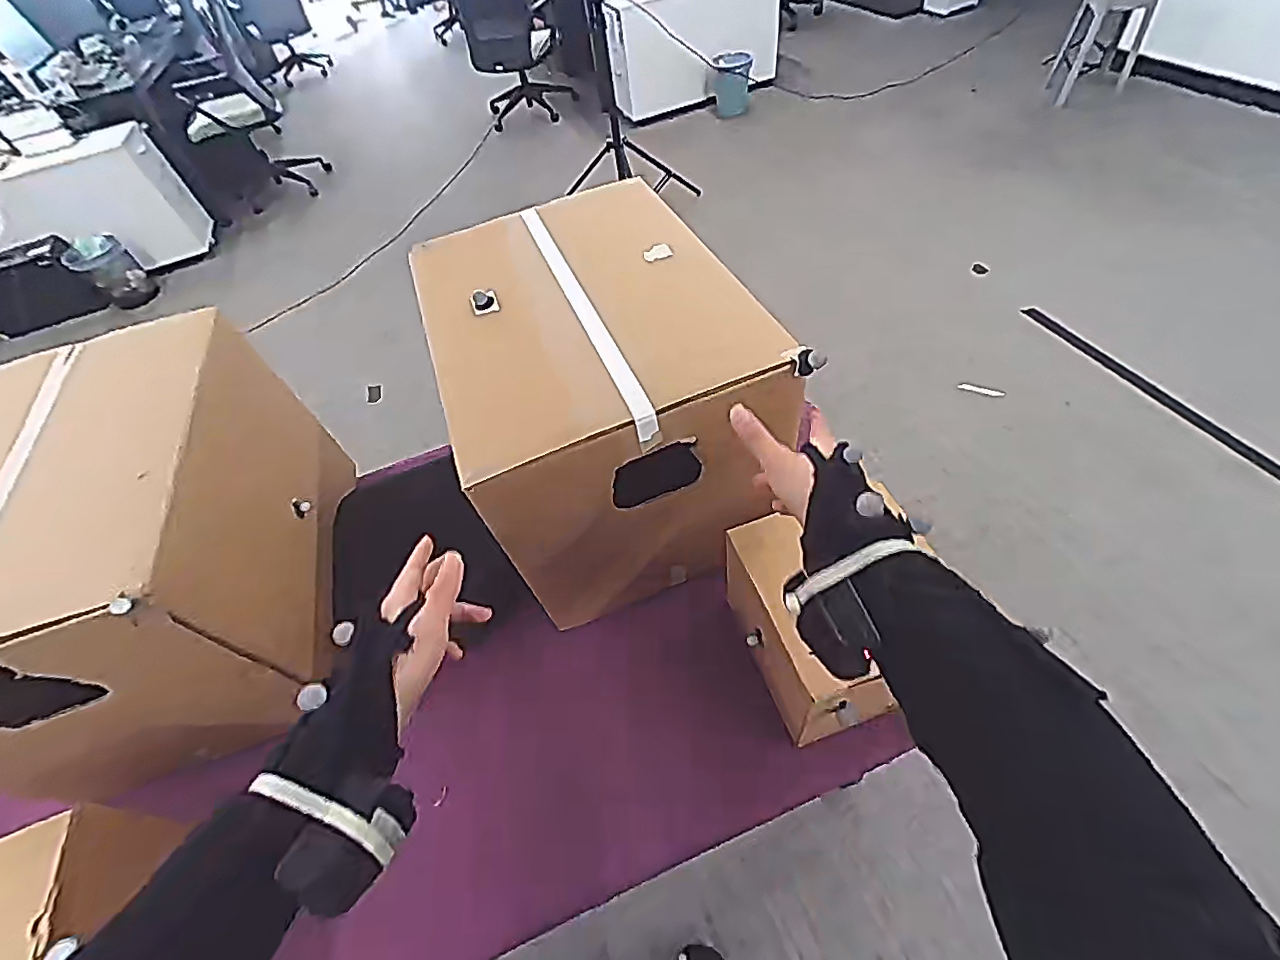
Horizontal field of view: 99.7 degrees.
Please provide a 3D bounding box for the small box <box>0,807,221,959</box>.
[{"bbox_3d":[-0.519,0.420,0.468,0.179,0.176,0.168,-22,51,-8],"label":"small box"}]

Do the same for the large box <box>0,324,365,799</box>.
[{"bbox_3d":[-0.561,0.092,0.640,0.320,0.320,0.408,-20,55,-6],"label":"large box"}]
